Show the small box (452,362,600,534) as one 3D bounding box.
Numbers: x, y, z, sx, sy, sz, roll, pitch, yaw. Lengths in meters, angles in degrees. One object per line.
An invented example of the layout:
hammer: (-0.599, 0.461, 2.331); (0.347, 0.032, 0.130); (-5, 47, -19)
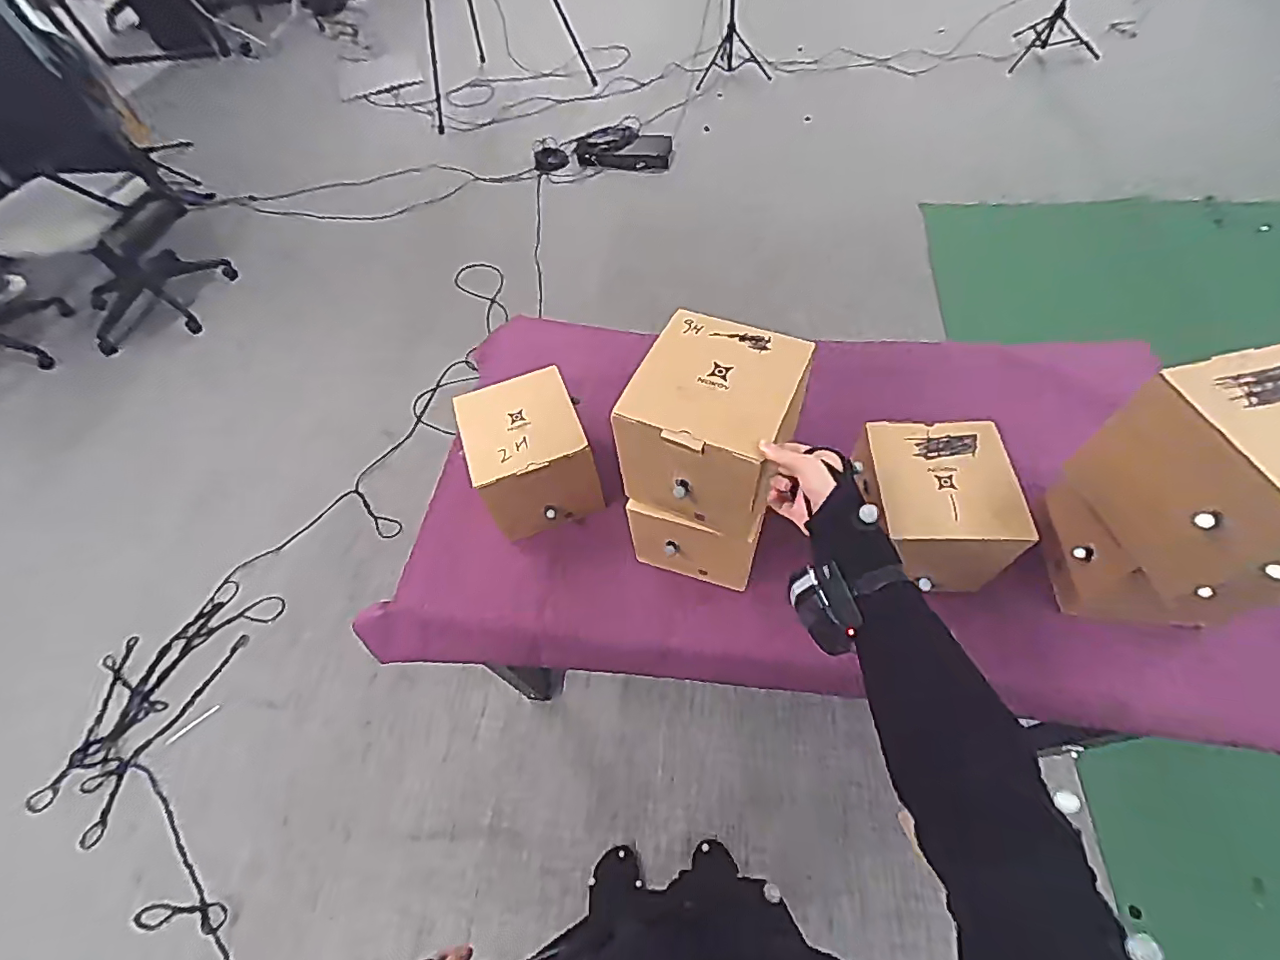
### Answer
small box: (-0.170, -0.046, 0.834); (0.168, 0.176, 0.179); (-20, 58, -7)

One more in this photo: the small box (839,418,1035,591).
small box: (0.380, 0.035, 0.733); (0.168, 0.176, 0.179); (0, 58, 6)

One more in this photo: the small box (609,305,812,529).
small box: (0.085, -0.068, 0.635); (0.168, 0.176, 0.179); (21, 62, 17)

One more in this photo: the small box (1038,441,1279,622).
small box: (0.645, 0.070, 0.685); (0.179, 0.176, 0.168); (5, 57, 9)

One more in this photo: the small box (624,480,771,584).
small box: (0.091, 0.026, 0.769); (0.168, 0.176, 0.179); (14, 59, 15)
